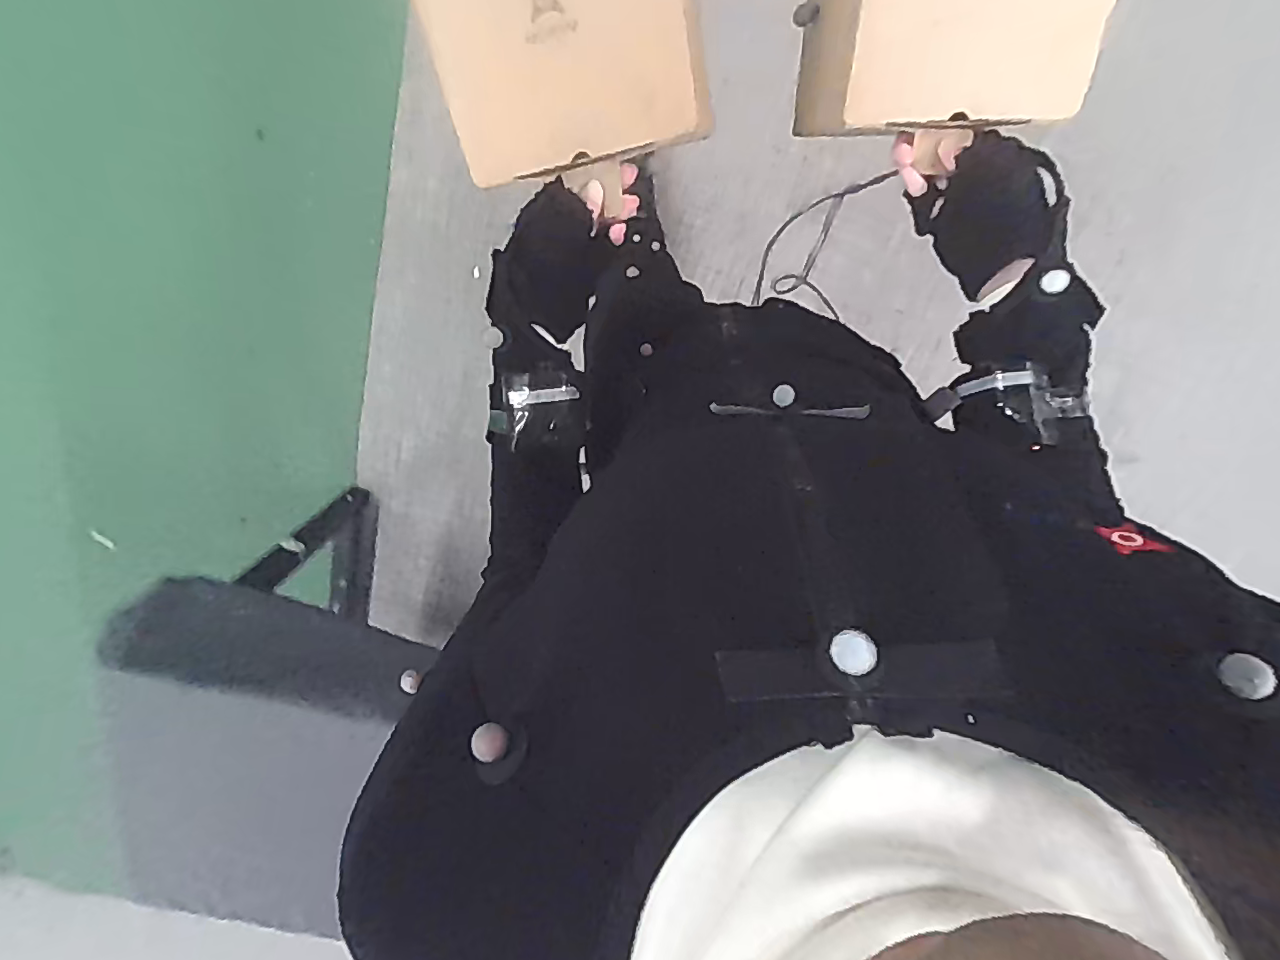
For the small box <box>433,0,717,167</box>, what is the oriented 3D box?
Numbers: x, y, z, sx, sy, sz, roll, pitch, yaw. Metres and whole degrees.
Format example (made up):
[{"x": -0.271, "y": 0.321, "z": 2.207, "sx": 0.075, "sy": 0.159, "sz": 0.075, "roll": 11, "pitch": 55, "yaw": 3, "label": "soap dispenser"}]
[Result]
[{"x": -0.037, "y": -0.347, "z": 0.393, "sx": 0.168, "sy": 0.176, "sz": 0.179, "roll": -5, "pitch": 120, "yaw": 14, "label": "small box"}]
